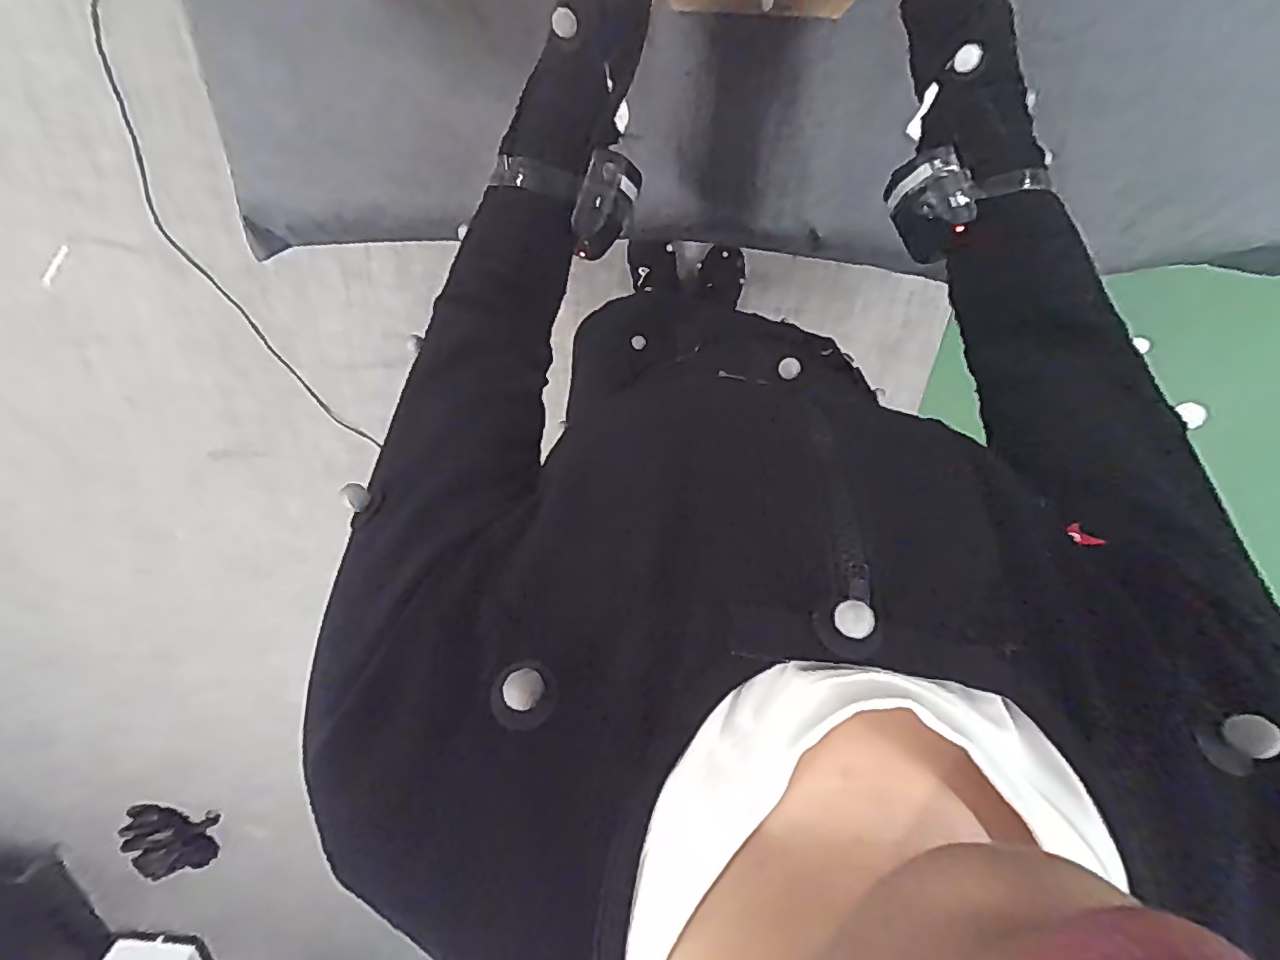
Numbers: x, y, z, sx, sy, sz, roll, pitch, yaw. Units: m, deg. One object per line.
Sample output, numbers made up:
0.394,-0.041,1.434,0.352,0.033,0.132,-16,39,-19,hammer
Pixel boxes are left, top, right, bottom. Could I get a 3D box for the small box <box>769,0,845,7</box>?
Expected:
0.115,-0.489,0.405,0.168,0.176,0.179,4,118,1,small box
